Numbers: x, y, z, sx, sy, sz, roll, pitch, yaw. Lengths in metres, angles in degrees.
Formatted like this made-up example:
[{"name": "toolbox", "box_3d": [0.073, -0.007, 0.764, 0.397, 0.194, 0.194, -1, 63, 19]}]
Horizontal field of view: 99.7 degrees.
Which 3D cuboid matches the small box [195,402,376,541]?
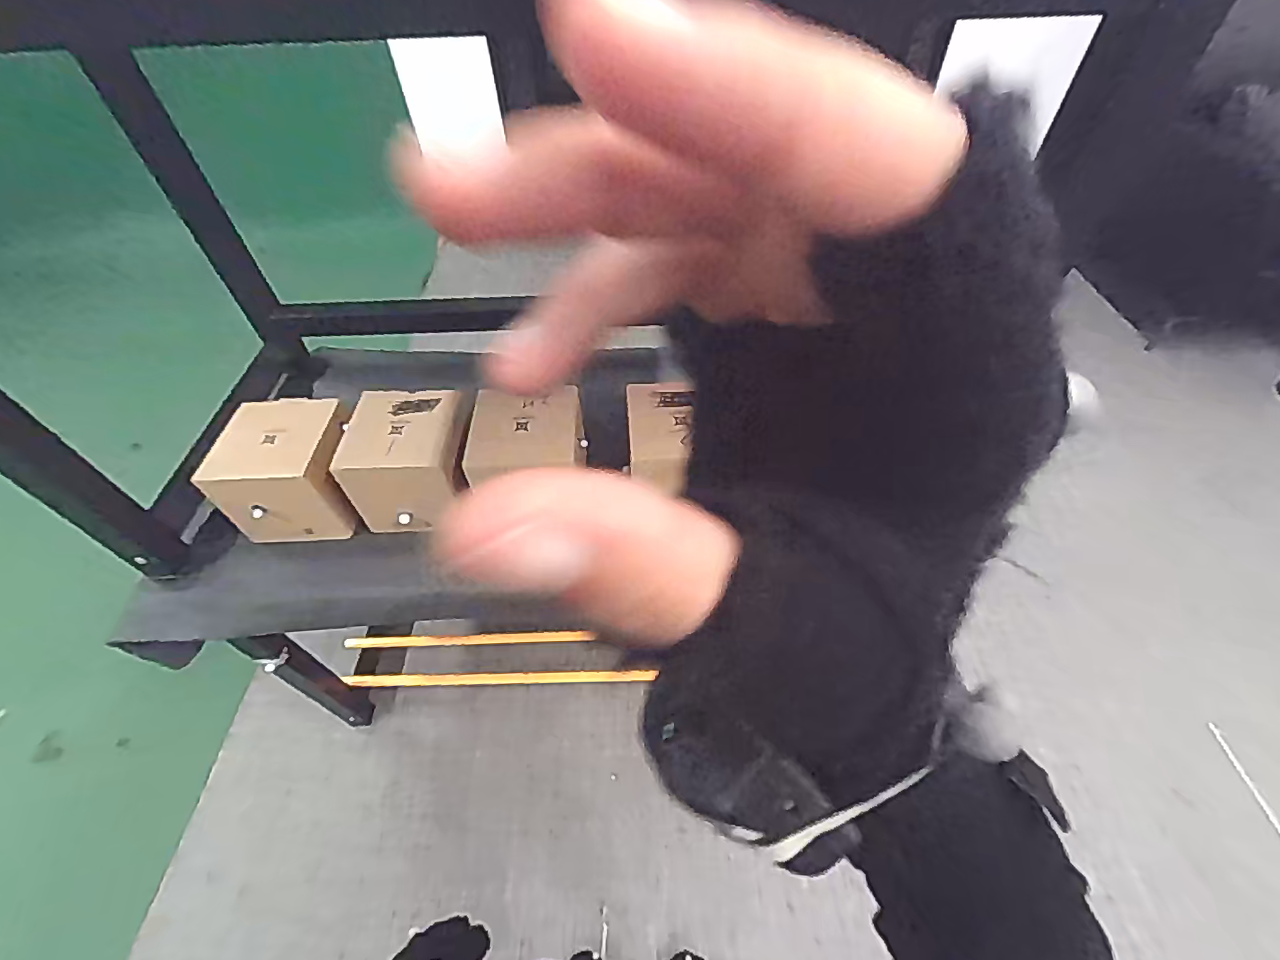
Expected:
[{"name": "small box", "box_3d": [-0.570, -0.008, 0.902, 0.168, 0.176, 0.179, -2, 49, -1]}]
